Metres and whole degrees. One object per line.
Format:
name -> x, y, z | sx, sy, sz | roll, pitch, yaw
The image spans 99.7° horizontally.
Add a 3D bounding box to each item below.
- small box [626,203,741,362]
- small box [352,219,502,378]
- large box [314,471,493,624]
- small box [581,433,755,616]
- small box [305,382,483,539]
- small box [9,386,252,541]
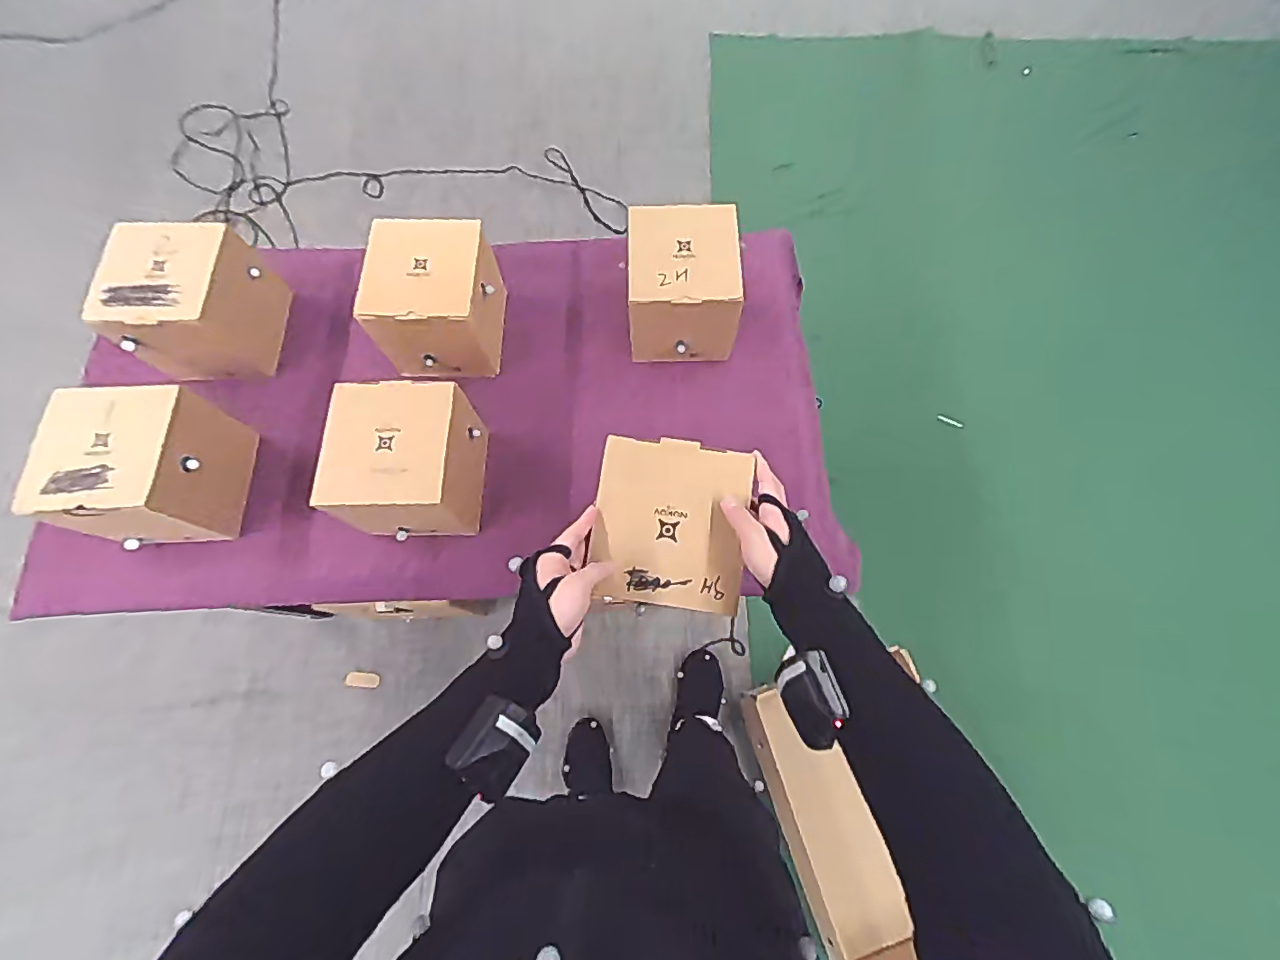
small box -> 0.063, -0.308, 0.861 | 0.168, 0.176, 0.179 | -1, 72, 2
small box -> -0.322, -0.282, 0.858 | 0.168, 0.176, 0.179 | 0, 72, 0
large box -> -0.581, 0.152, 1.408 | 0.320, 0.320, 0.408 | -1, 70, -1
small box -> 0.036, 0.059, 0.646 | 0.168, 0.176, 0.179 | 7, 79, 6
small box -> -0.330, -0.022, 0.767 | 0.168, 0.176, 0.179 | 0, 70, 1
small box -> -0.693, -0.013, 0.763 | 0.168, 0.176, 0.179 | -2, 69, -1
